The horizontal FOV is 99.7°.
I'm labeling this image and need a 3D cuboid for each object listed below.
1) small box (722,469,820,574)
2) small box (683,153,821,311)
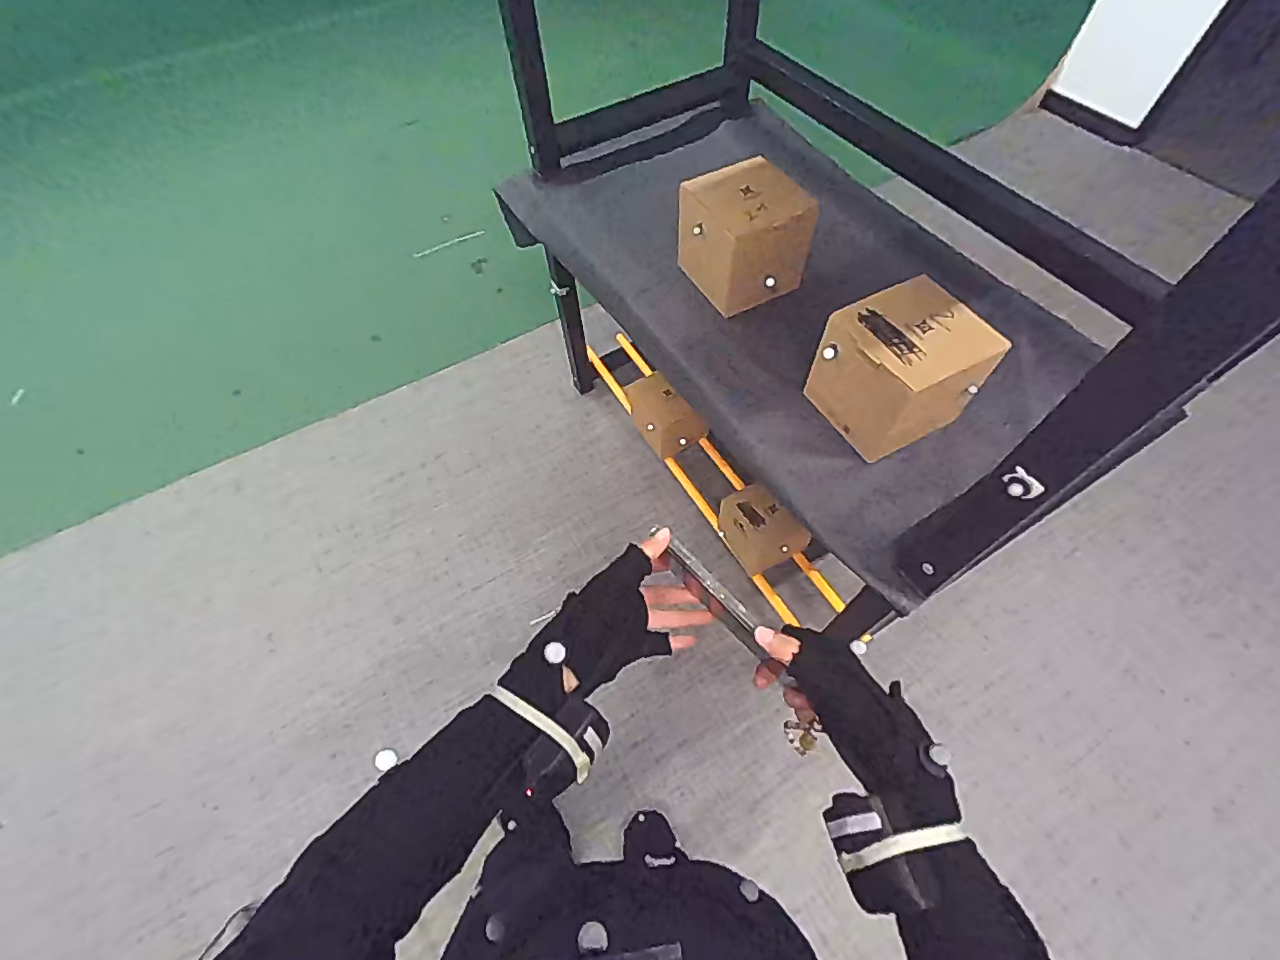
[{"bbox_3d":[0.318,0.110,1.358,0.179,0.176,0.168,-26,62,-11],"label":"small box"},{"bbox_3d":[0.185,-0.437,0.962,0.168,0.176,0.179,-26,61,-12],"label":"small box"}]
